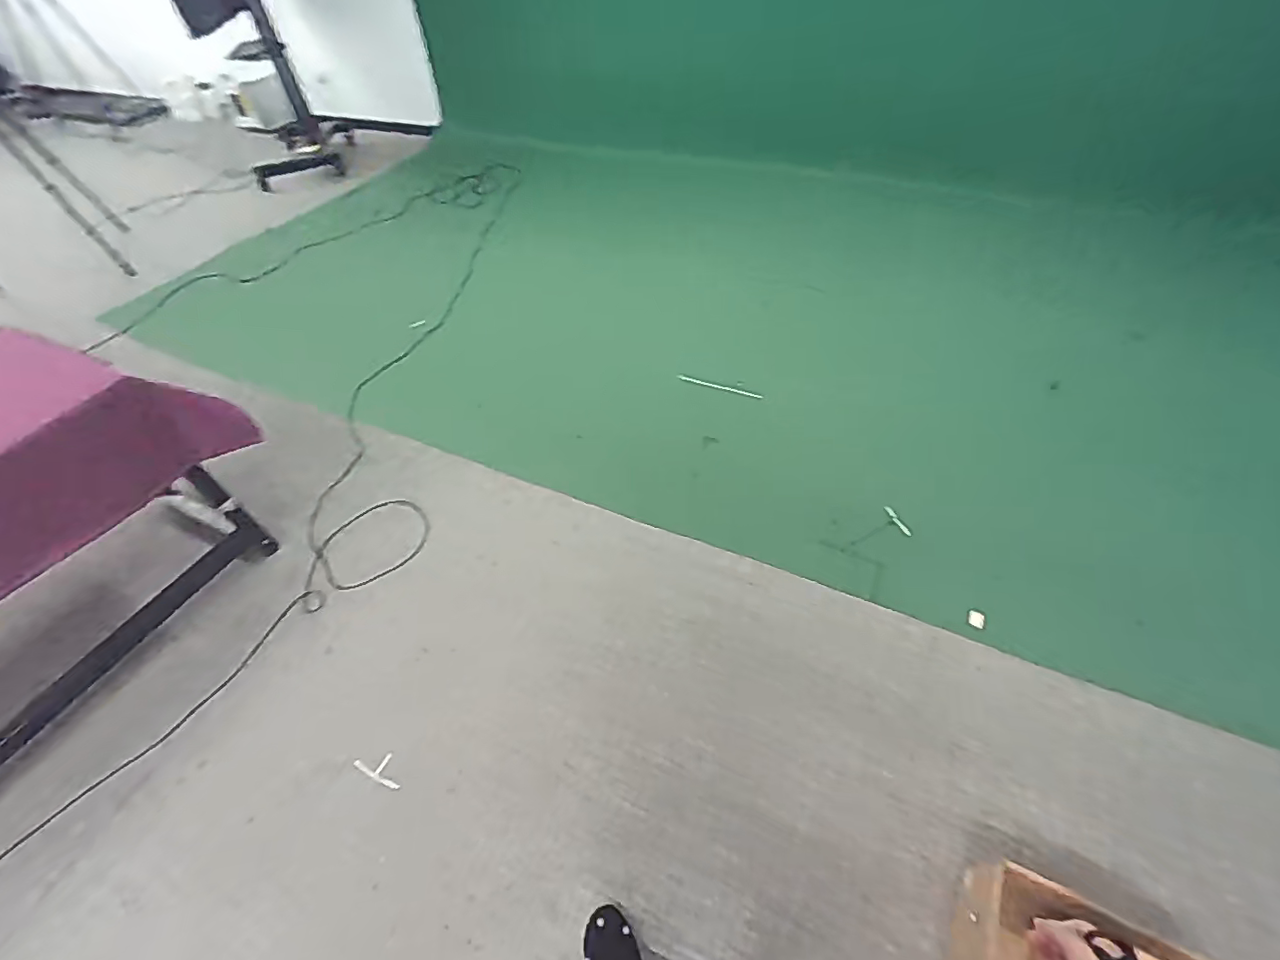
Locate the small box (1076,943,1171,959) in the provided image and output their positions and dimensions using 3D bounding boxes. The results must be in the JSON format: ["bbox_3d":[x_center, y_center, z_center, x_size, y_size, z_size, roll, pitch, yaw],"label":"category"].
[{"bbox_3d":[0.786,0.830,0.799,0.179,0.176,0.168,21,53,22],"label":"small box"}]
